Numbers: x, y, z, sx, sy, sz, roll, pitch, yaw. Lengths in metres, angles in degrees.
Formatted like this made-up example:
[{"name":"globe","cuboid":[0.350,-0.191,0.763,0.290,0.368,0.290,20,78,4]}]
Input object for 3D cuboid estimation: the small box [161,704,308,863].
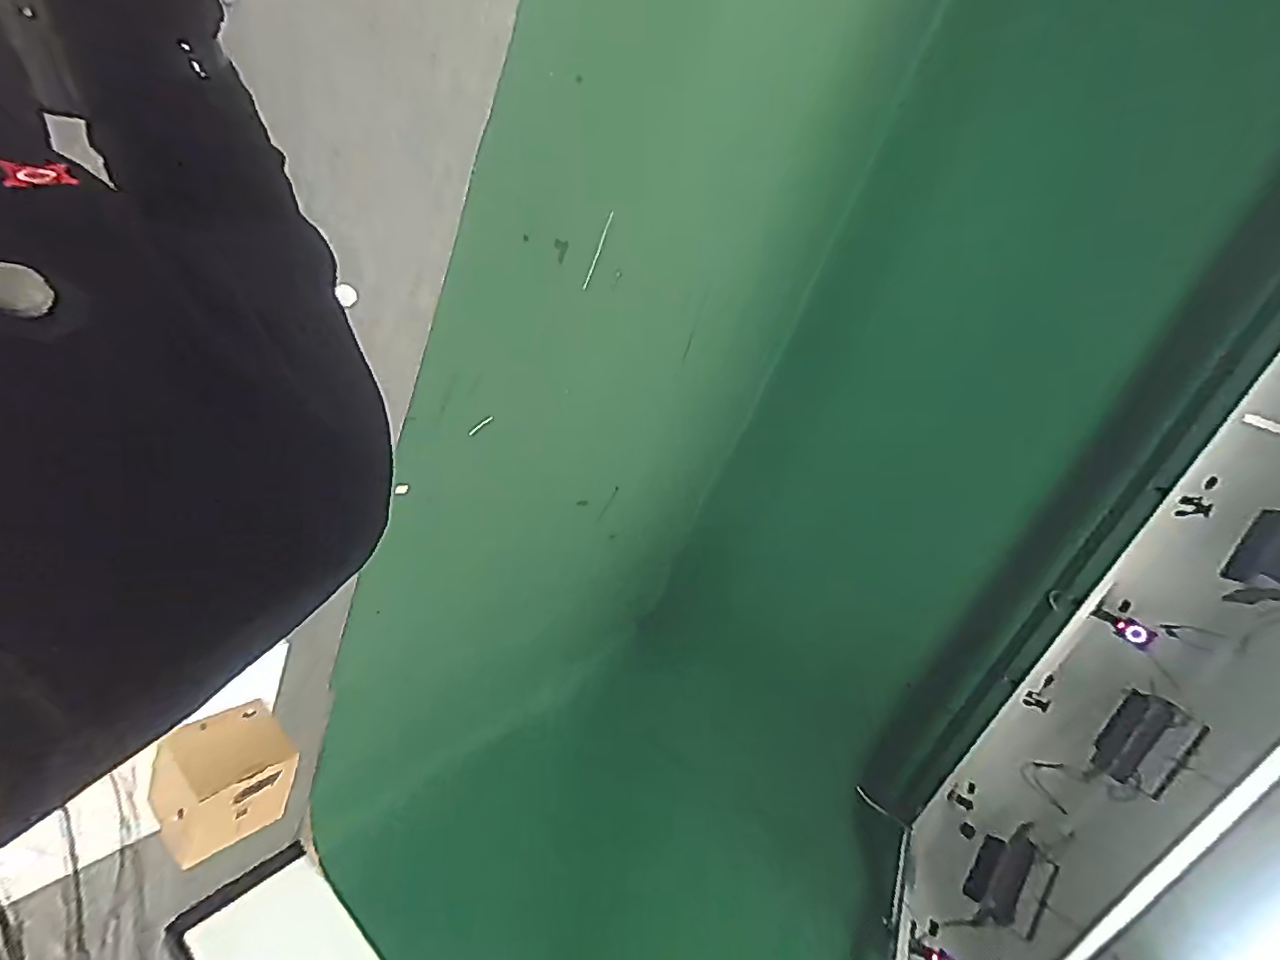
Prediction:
[{"name":"small box","cuboid":[-0.774,0.559,1.030,0.168,0.176,0.179,-6,124,-59]}]
